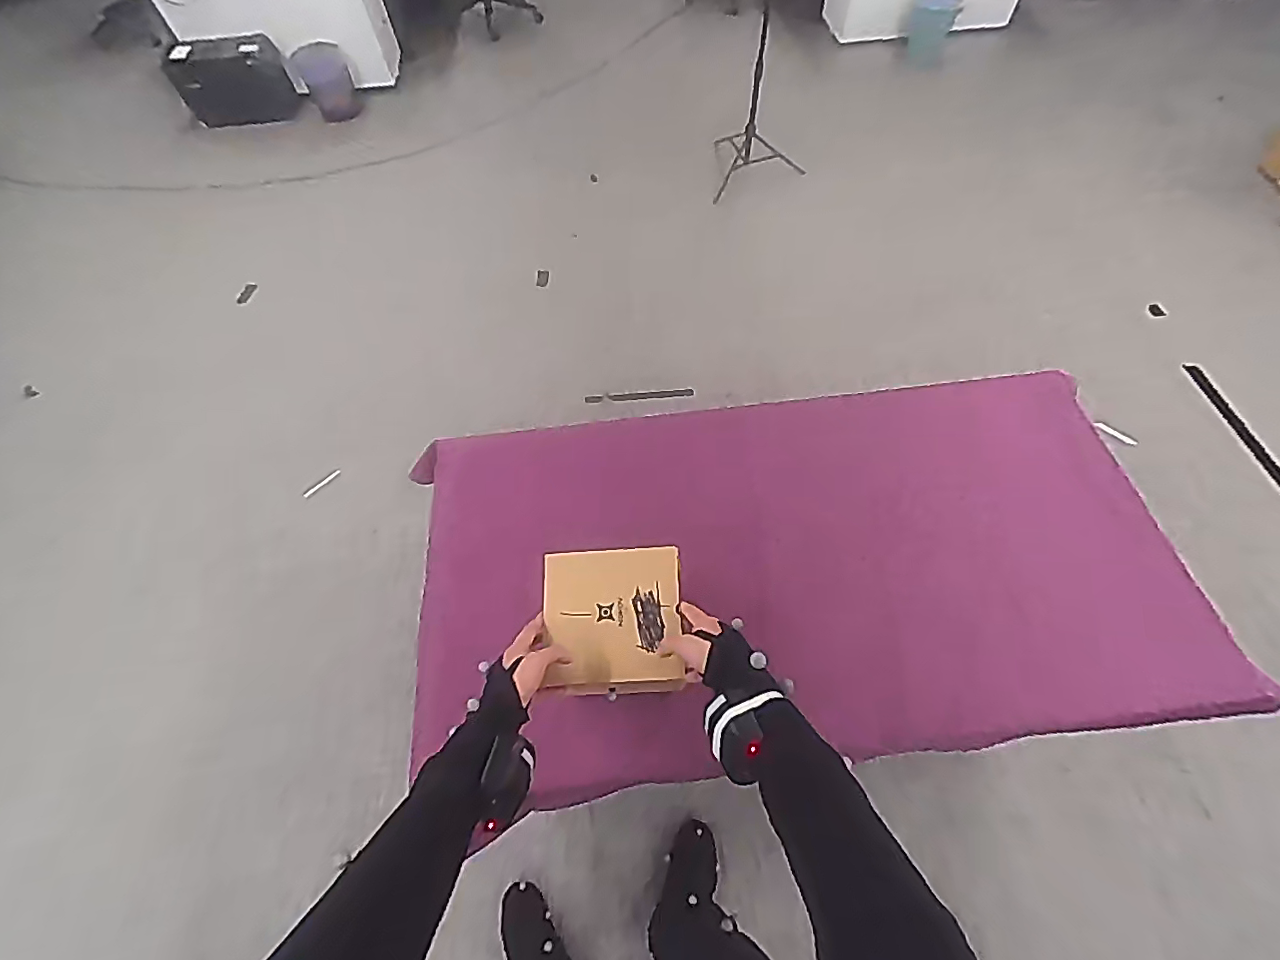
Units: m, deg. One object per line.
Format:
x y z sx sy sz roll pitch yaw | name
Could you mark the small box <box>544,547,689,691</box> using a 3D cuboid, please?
-0.028 0.197 0.747 0.179 0.176 0.168 -3 64 2 | small box
